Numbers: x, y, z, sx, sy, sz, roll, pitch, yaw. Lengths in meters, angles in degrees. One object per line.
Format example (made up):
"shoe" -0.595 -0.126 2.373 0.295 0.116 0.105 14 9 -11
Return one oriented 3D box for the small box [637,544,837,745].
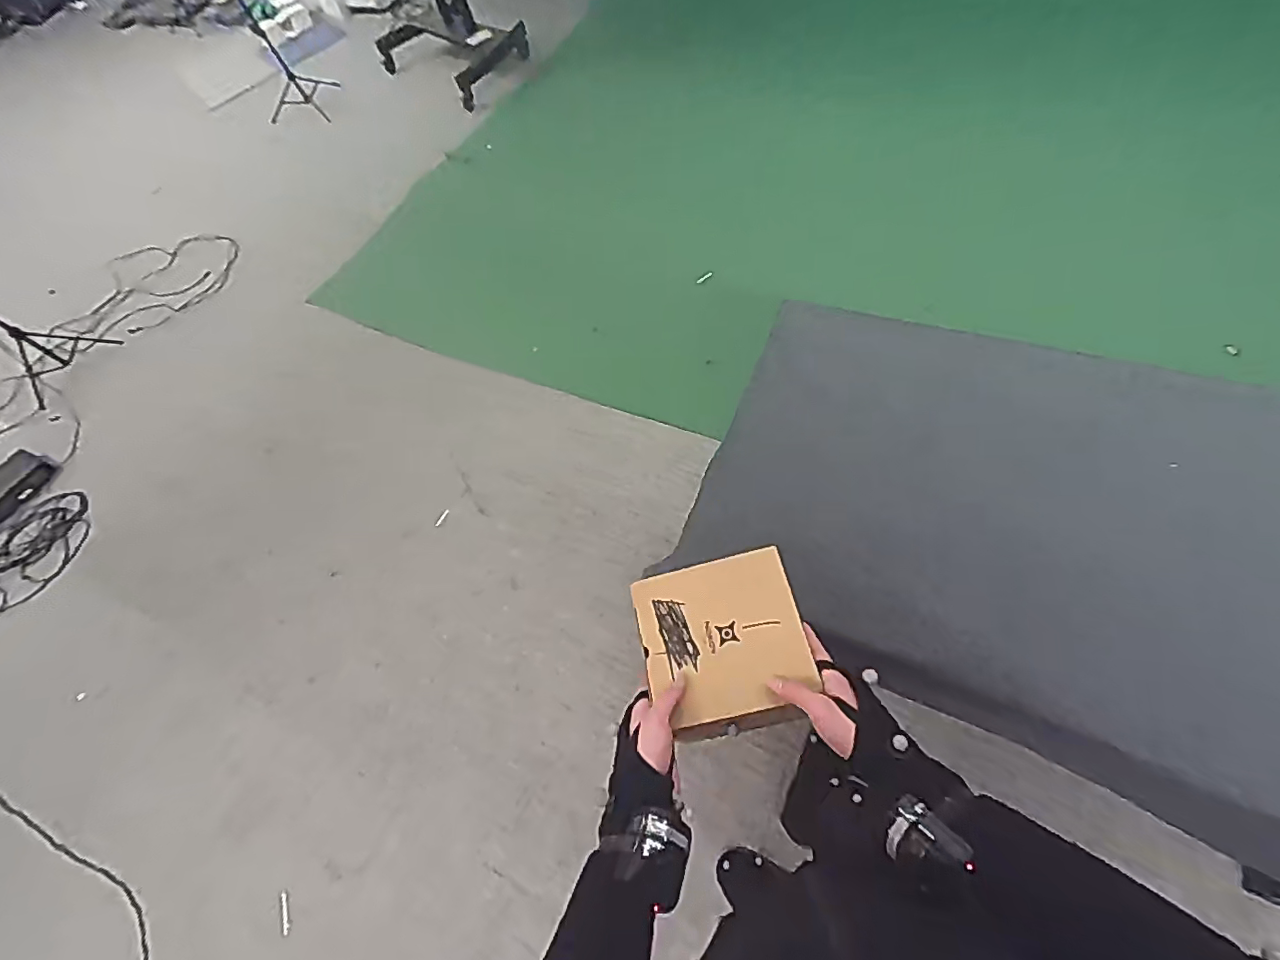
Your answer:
"small box" 0.108 0.198 0.628 0.179 0.176 0.168 -14 58 3
